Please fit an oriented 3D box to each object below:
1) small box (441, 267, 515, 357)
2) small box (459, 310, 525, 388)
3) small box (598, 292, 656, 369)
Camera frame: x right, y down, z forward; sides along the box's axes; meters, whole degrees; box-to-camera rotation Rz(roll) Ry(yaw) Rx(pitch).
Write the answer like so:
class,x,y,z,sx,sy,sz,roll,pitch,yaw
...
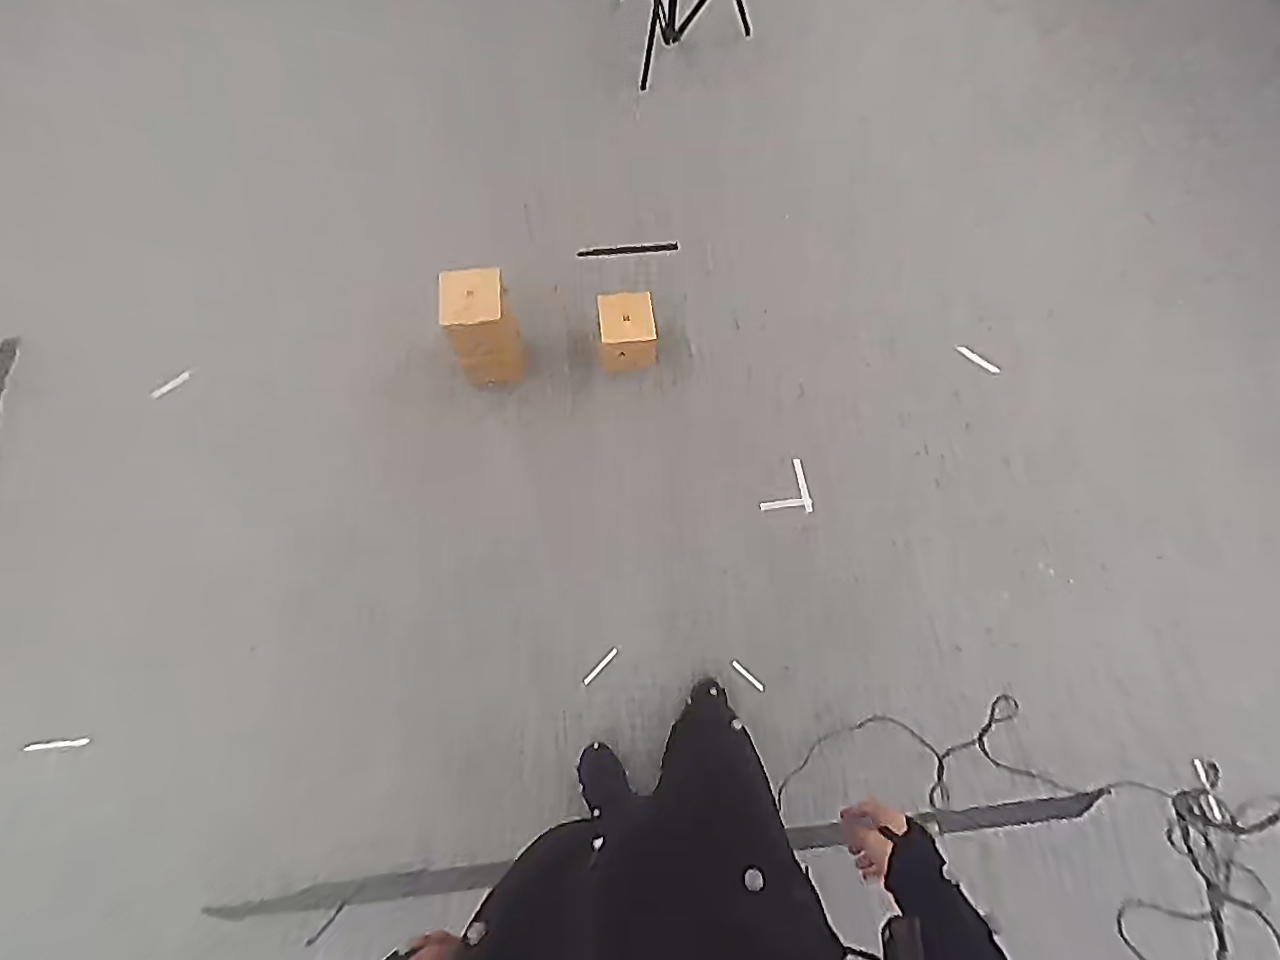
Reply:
class,x,y,z,sx,sy,sz,roll,pitch,yaw
small box,-0.453,-0.471,1.530,0.168,0.176,0.179,-6,71,-2
small box,-0.455,-0.407,1.681,0.168,0.176,0.179,-6,70,-2
small box,-0.042,-0.467,1.717,0.168,0.176,0.179,-6,70,-4
